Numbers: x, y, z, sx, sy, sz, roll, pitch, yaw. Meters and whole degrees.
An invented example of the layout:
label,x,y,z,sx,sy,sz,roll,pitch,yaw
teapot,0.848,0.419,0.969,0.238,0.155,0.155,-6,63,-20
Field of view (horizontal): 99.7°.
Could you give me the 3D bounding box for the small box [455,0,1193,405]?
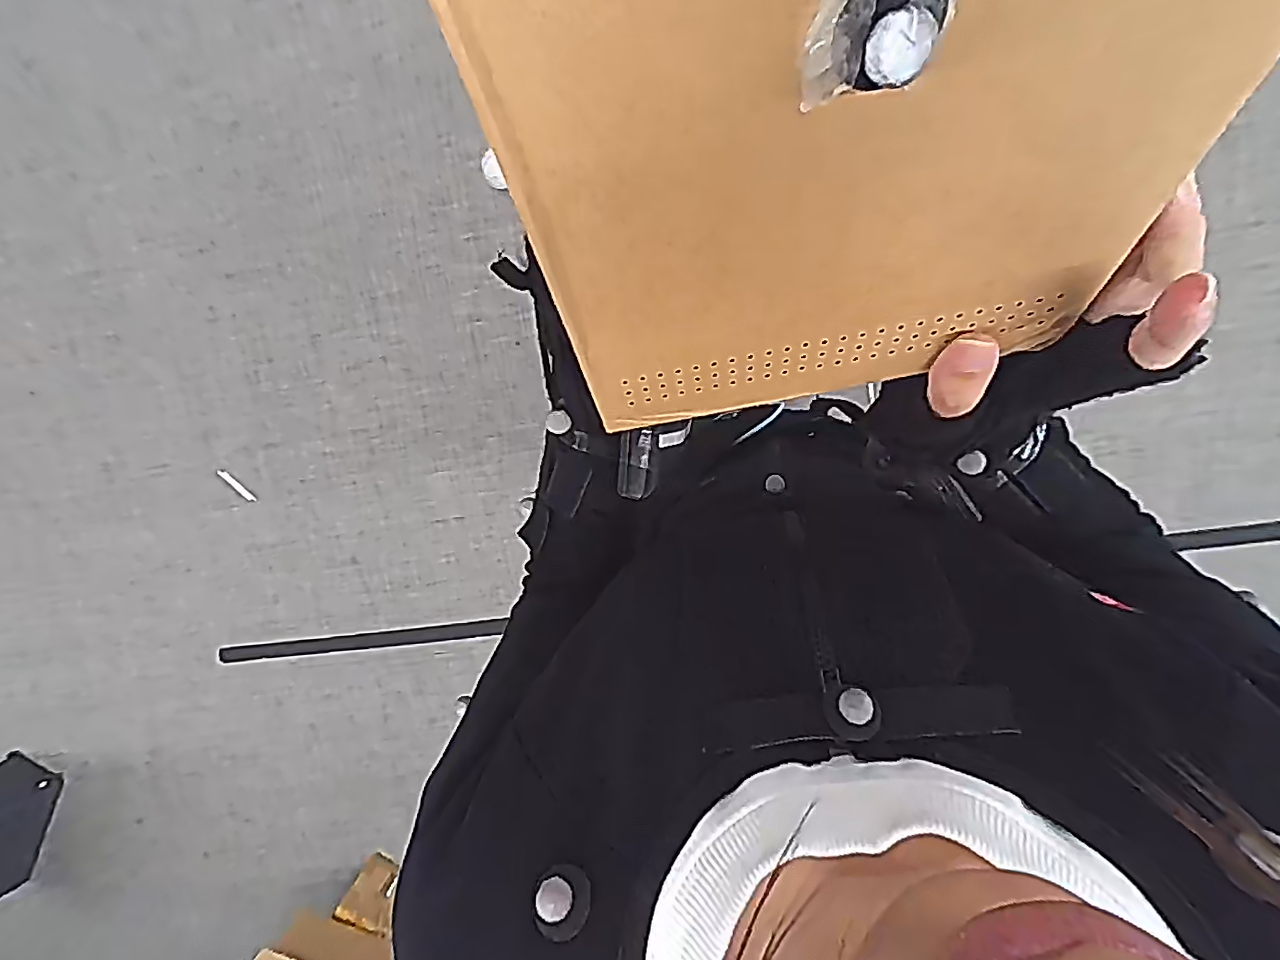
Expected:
label,x,y,z,sx,sy,sz,roll,pitch,yaw
small box,0.050,-0.147,0.198,0.179,0.176,0.168,-10,62,6
